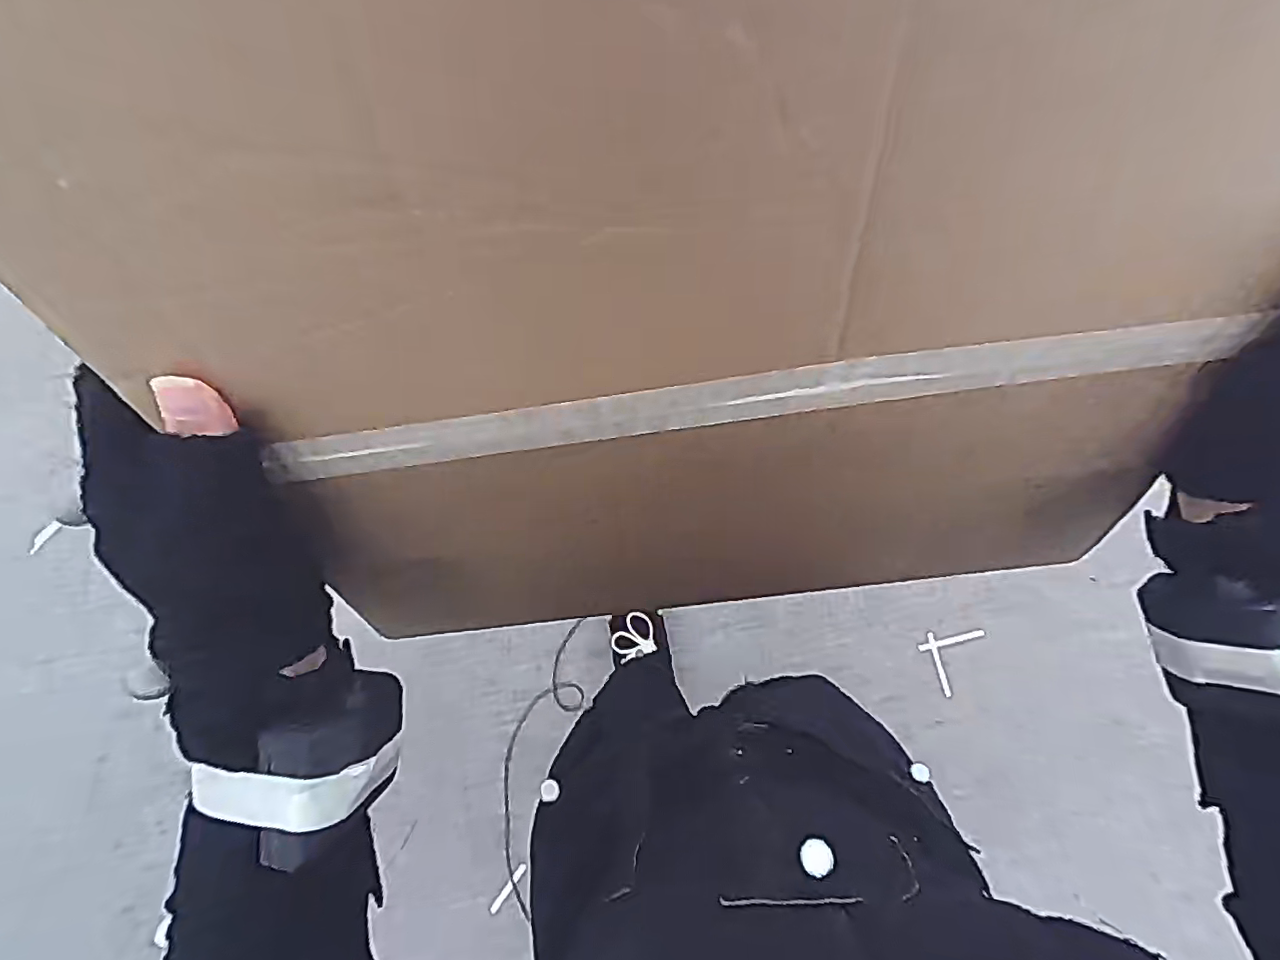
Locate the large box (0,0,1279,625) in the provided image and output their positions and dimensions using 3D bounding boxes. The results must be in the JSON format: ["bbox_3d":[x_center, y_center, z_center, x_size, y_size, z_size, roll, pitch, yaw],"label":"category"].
[{"bbox_3d":[0.023,-0.147,0.312,0.408,0.320,0.320,-7,49,2],"label":"large box"}]
